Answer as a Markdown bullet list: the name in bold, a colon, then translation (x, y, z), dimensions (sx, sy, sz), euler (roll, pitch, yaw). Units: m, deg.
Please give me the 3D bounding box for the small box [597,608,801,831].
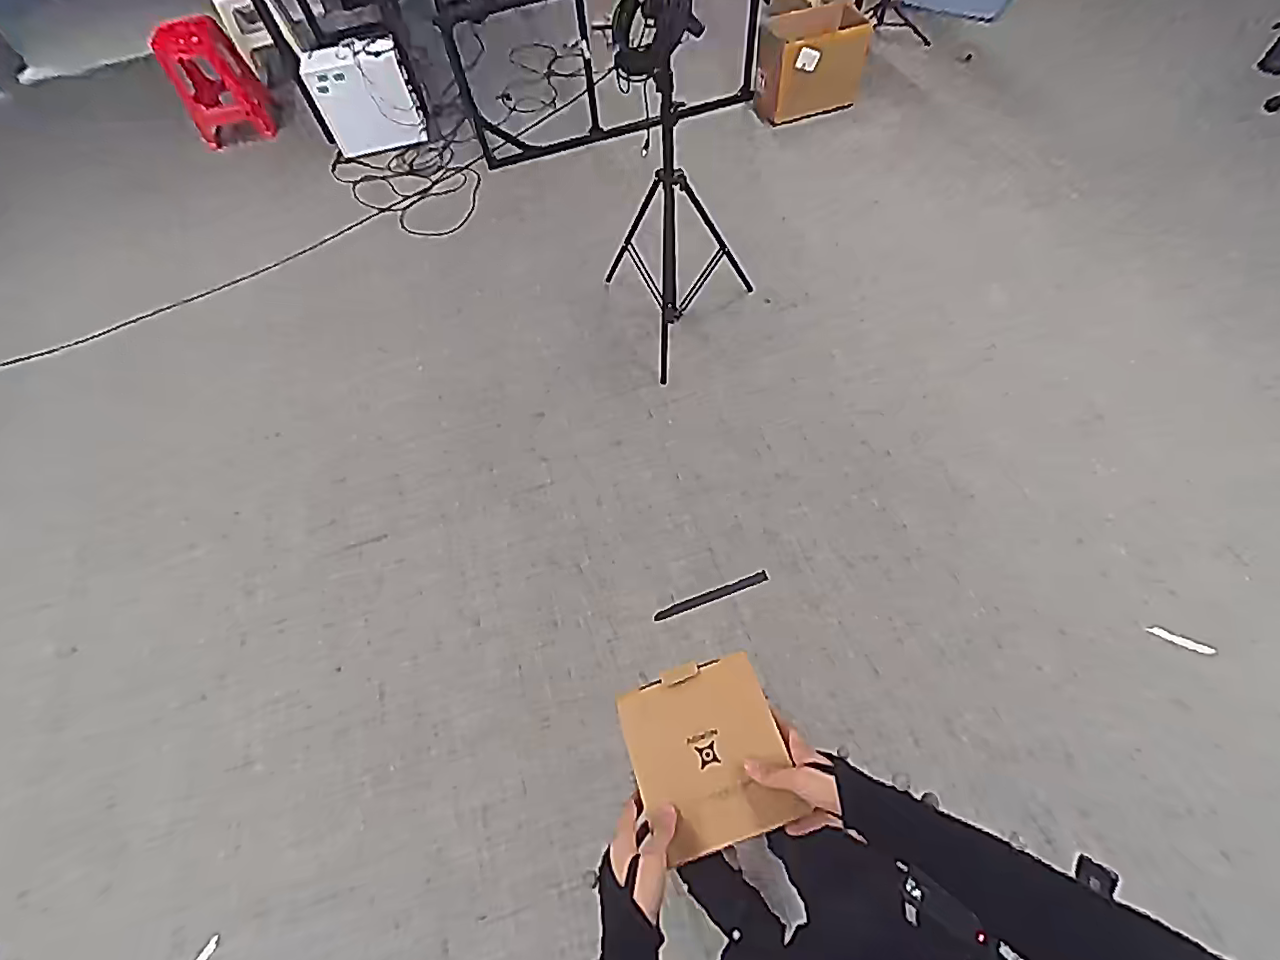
- **small box**: translation (0.063, 0.277, 0.620), dimensions (0.168, 0.176, 0.179), euler (-20, 58, -2)
